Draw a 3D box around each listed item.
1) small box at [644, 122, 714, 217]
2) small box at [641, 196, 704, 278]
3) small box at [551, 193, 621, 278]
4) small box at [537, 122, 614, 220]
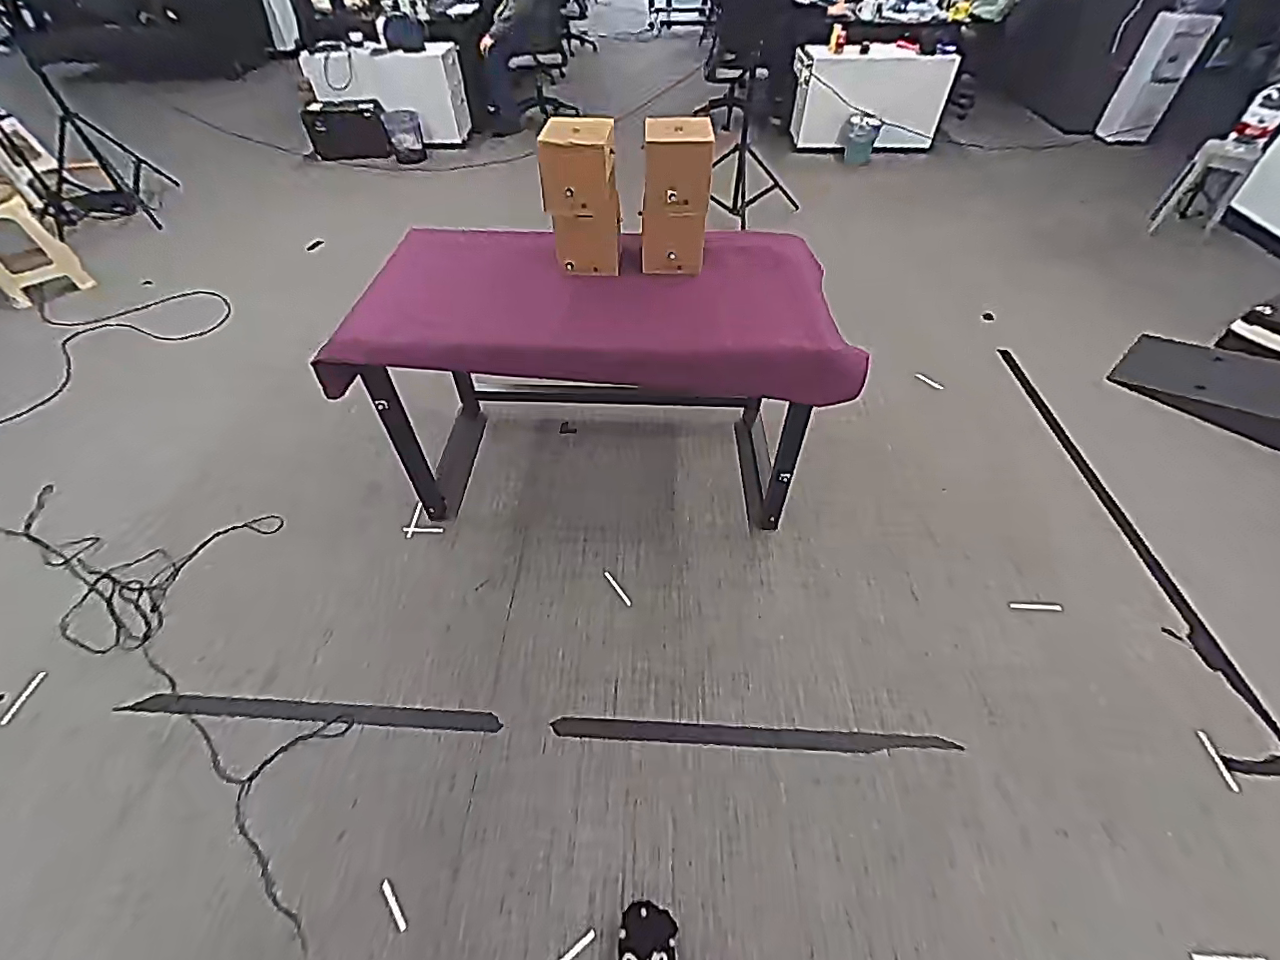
[{"bbox_3d":[0.094,-0.796,1.388,0.168,0.176,0.179,-1,50,1],"label":"small box"},{"bbox_3d":[0.089,-0.685,1.507,0.168,0.176,0.179,1,49,2],"label":"small box"},{"bbox_3d":[-0.142,-0.676,1.500,0.168,0.176,0.179,2,49,1],"label":"small box"},{"bbox_3d":[-0.156,-0.788,1.382,0.168,0.176,0.179,4,50,3],"label":"small box"}]
